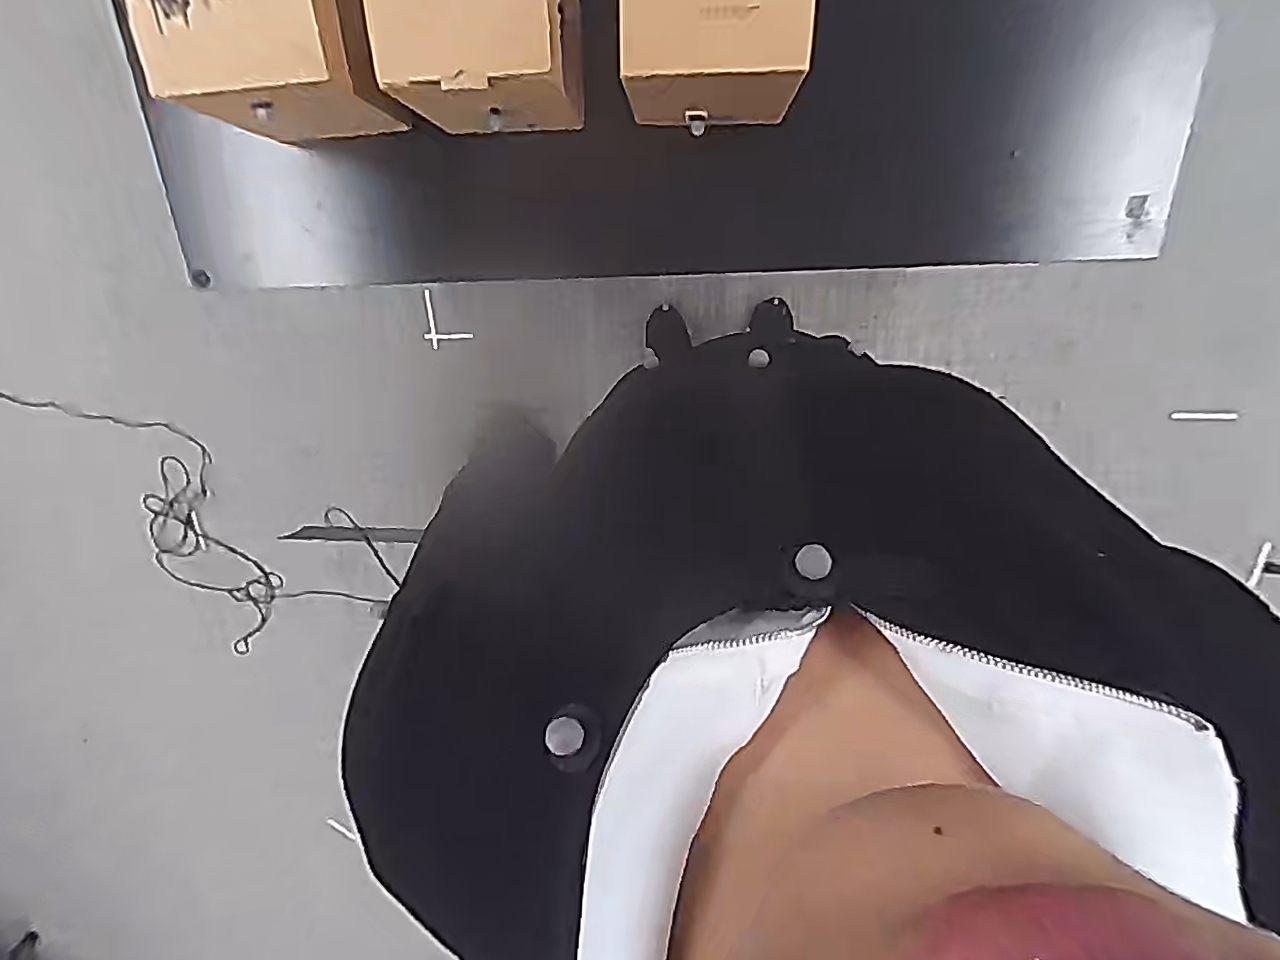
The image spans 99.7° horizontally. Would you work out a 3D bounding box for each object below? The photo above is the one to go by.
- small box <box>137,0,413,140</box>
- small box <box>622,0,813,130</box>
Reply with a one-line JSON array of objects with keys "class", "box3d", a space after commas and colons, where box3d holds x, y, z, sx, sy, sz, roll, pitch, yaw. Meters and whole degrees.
[{"class": "small box", "box3d": [-0.368, -0.470, 0.558, 0.179, 0.176, 0.168, -2, 109, 5]}, {"class": "small box", "box3d": [0.073, -0.466, 0.526, 0.168, 0.176, 0.179, 1, 111, 6]}]
